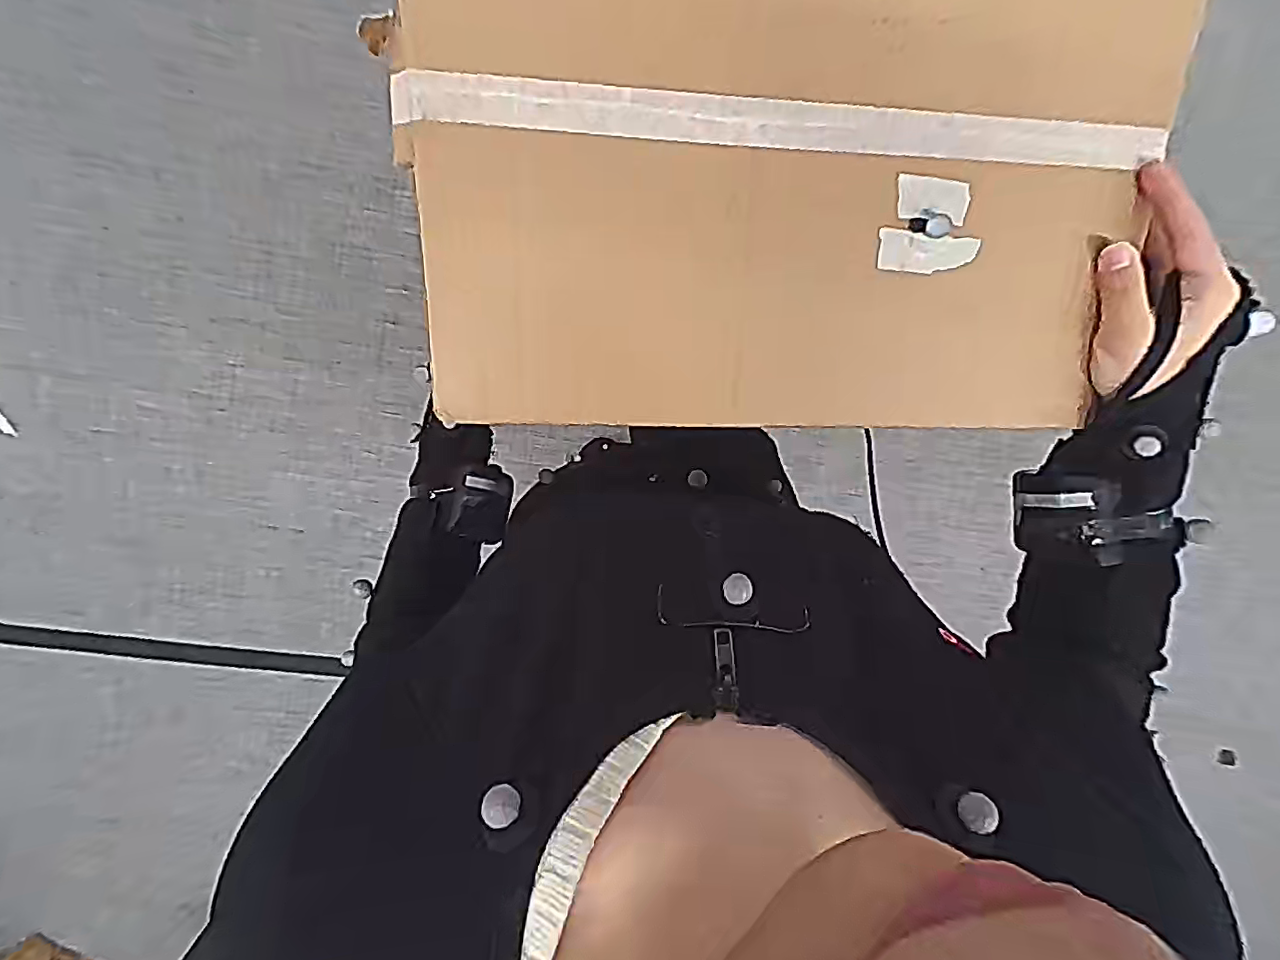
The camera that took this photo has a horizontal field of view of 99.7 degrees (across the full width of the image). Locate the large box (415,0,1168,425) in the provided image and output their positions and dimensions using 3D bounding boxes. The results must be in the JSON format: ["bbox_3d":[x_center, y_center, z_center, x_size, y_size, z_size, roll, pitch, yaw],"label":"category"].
[{"bbox_3d":[0.068,-0.227,0.433,0.408,0.320,0.320,-1,107,-8],"label":"large box"}]
